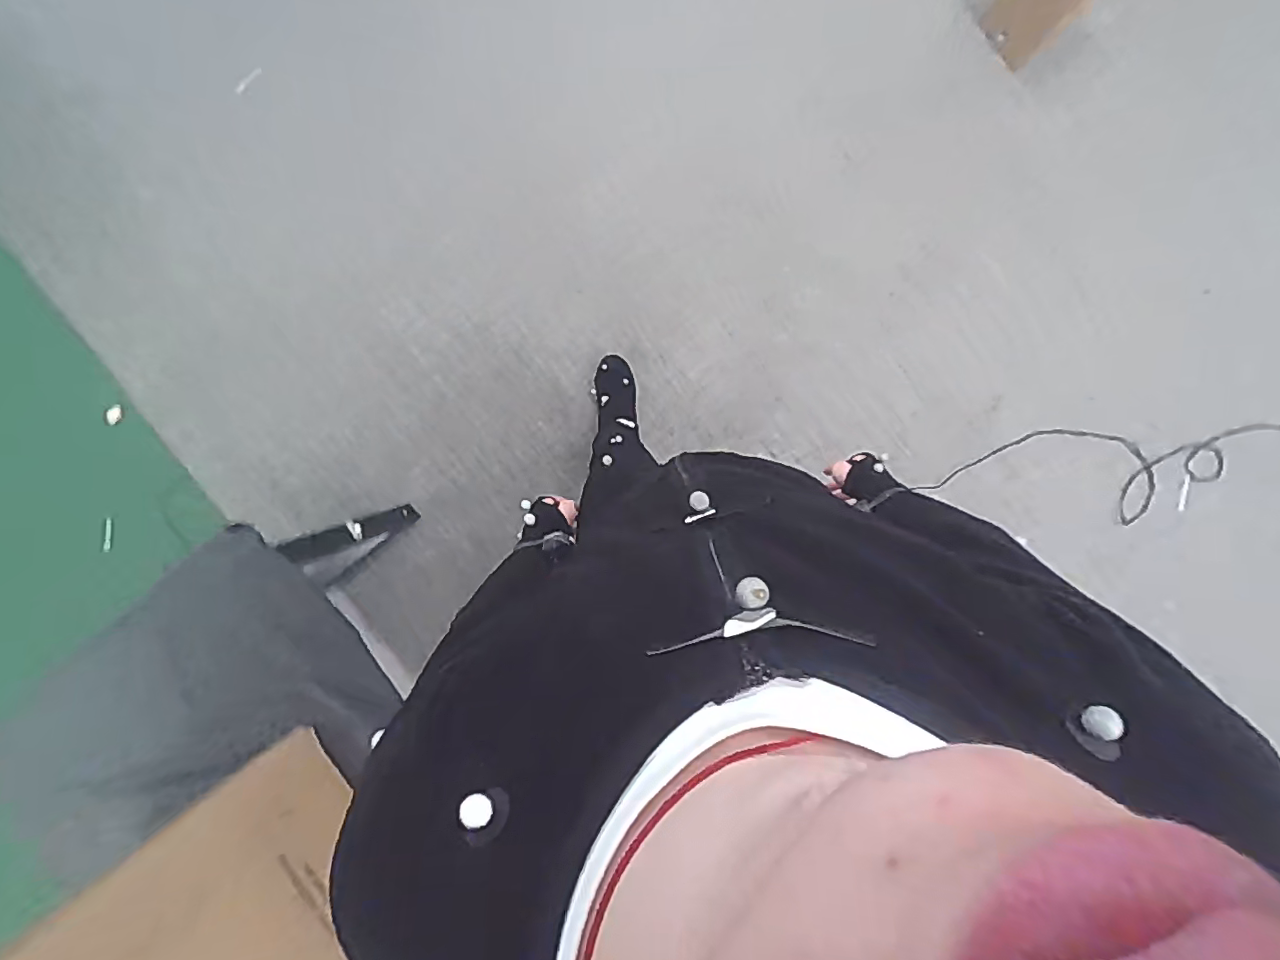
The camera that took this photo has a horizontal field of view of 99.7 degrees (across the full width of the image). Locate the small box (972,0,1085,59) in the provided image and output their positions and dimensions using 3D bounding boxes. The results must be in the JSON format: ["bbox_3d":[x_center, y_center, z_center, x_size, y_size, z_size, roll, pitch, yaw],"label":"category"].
[{"bbox_3d":[0.950,-1.165,1.294,0.168,0.176,0.179,-37,94,6],"label":"small box"}]

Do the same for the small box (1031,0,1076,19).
[{"bbox_3d":[0.937,-1.142,1.131,0.179,0.176,0.168,-38,93,7],"label":"small box"}]
